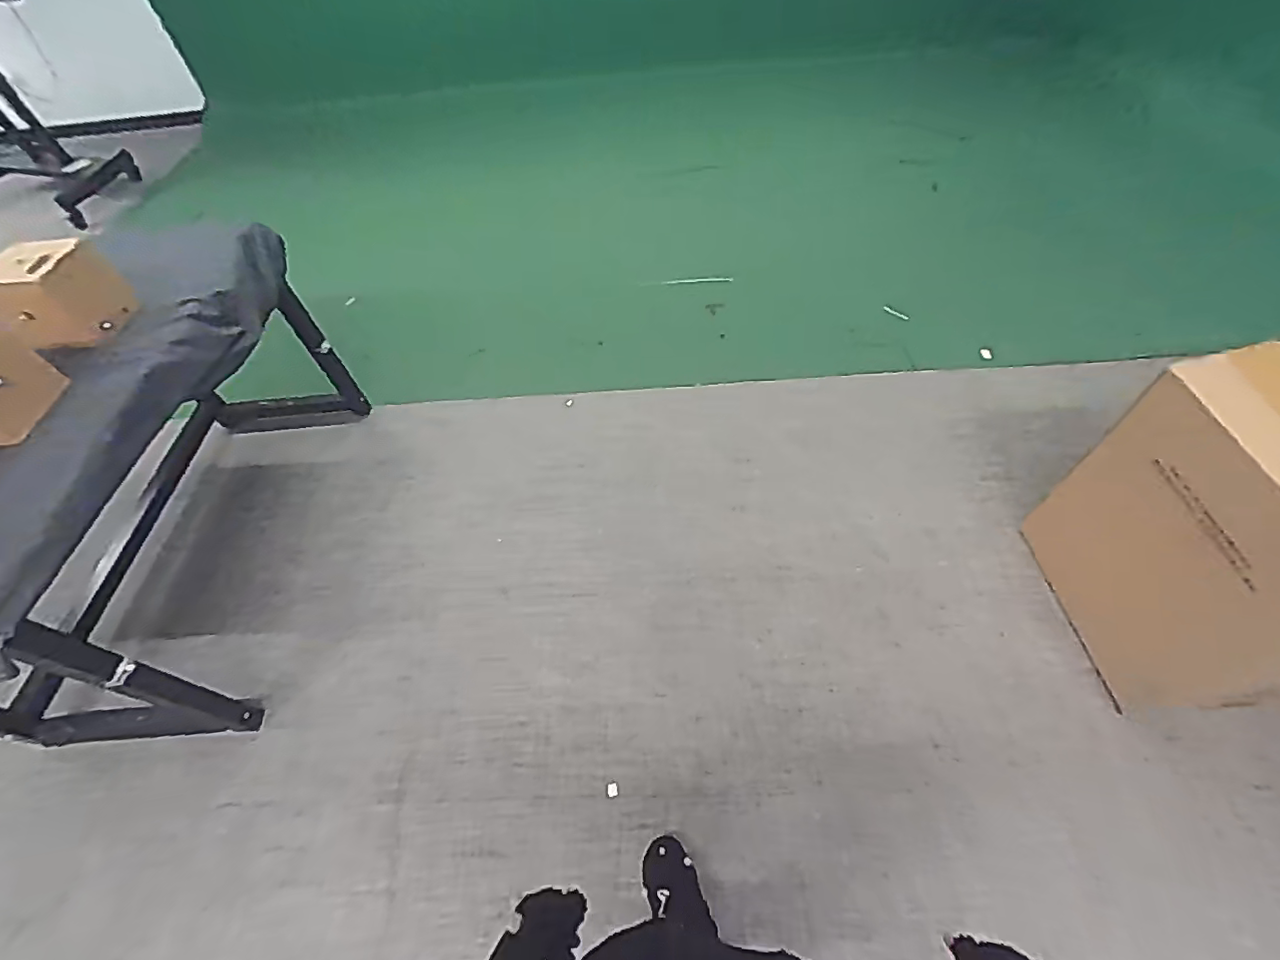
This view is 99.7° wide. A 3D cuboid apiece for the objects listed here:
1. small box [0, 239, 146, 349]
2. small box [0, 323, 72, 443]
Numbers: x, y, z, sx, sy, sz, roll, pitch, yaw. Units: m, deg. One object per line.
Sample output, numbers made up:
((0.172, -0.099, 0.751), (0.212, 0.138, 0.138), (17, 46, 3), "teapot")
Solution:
((-1.282, -0.412, 1.209), (0.179, 0.176, 0.168), (-3, 53, 4), "small box")
((-1.278, -0.182, 1.040), (0.168, 0.176, 0.179), (-4, 54, 2), "small box")
